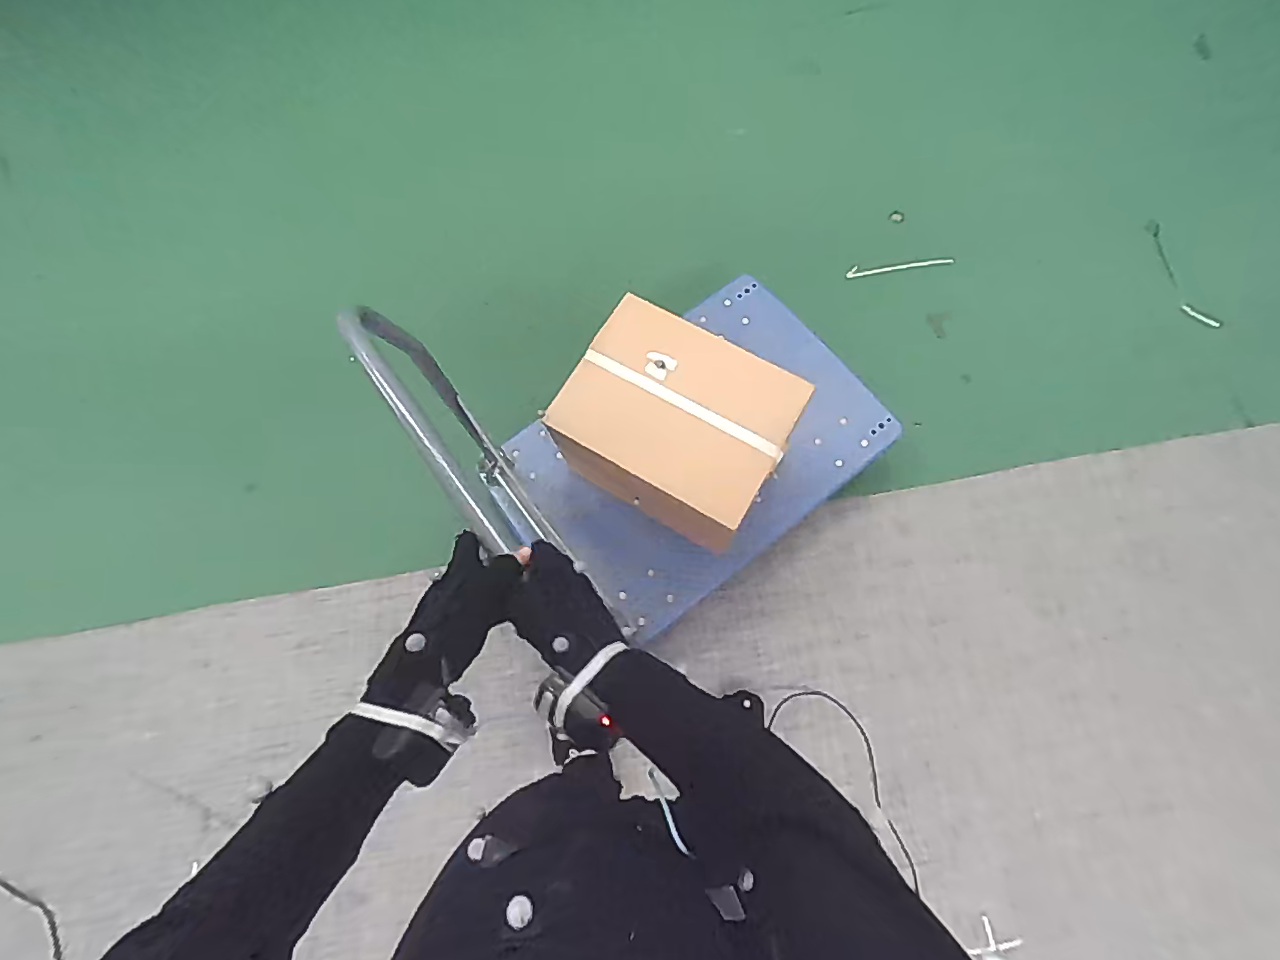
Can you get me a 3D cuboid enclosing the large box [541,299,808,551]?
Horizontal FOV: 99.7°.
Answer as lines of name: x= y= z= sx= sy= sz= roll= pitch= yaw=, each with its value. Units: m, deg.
large box: x=0.073 y=-0.096 z=1.131 sx=0.408 sy=0.320 sz=0.320 roll=30 pitch=77 yaw=12
